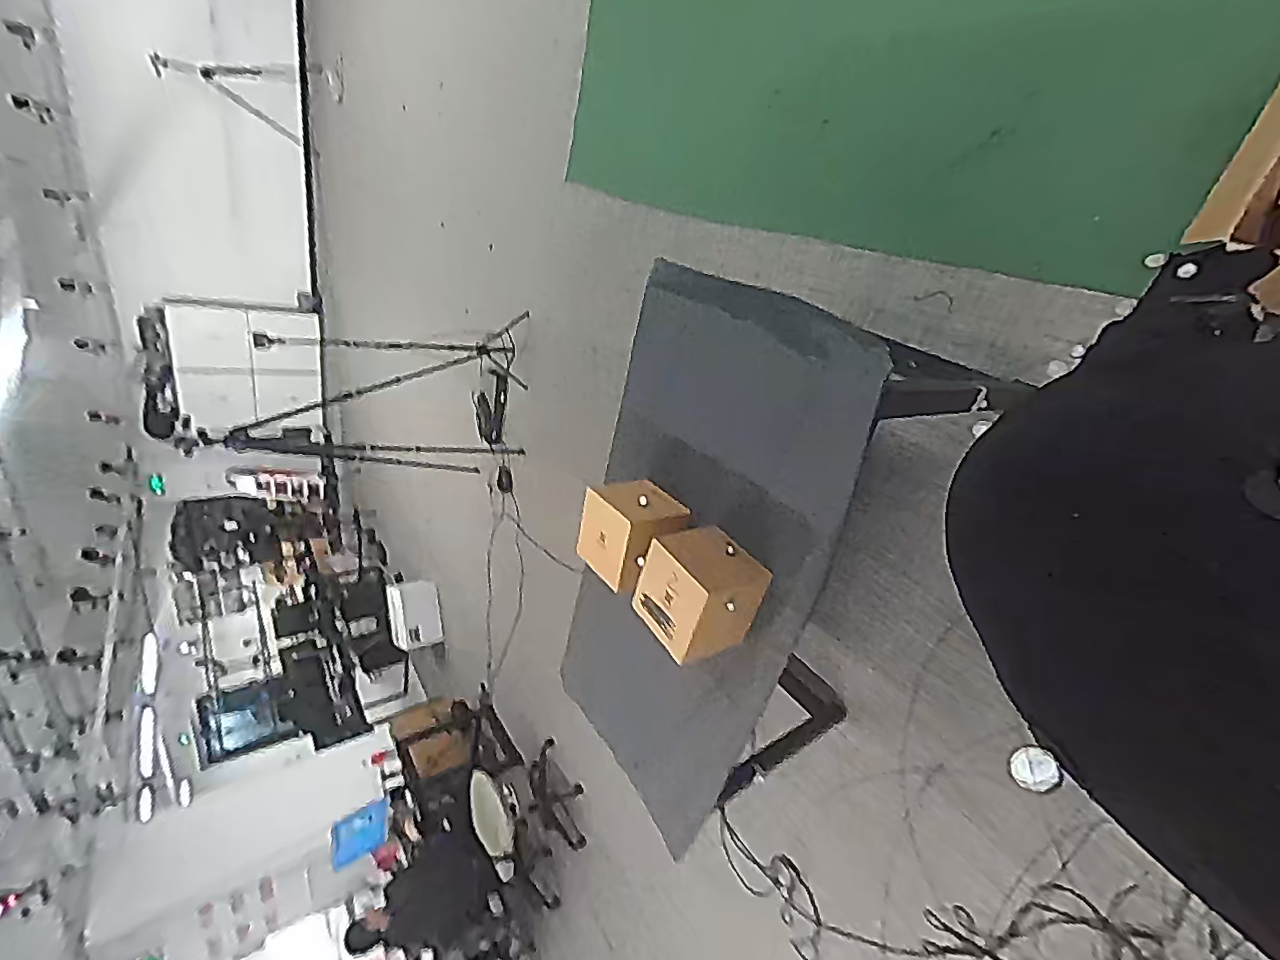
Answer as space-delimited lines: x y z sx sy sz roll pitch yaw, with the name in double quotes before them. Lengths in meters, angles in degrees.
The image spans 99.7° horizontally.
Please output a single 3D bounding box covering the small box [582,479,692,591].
"small box" -0.005 0.112 1.199 0.168 0.176 0.179 36 124 43
